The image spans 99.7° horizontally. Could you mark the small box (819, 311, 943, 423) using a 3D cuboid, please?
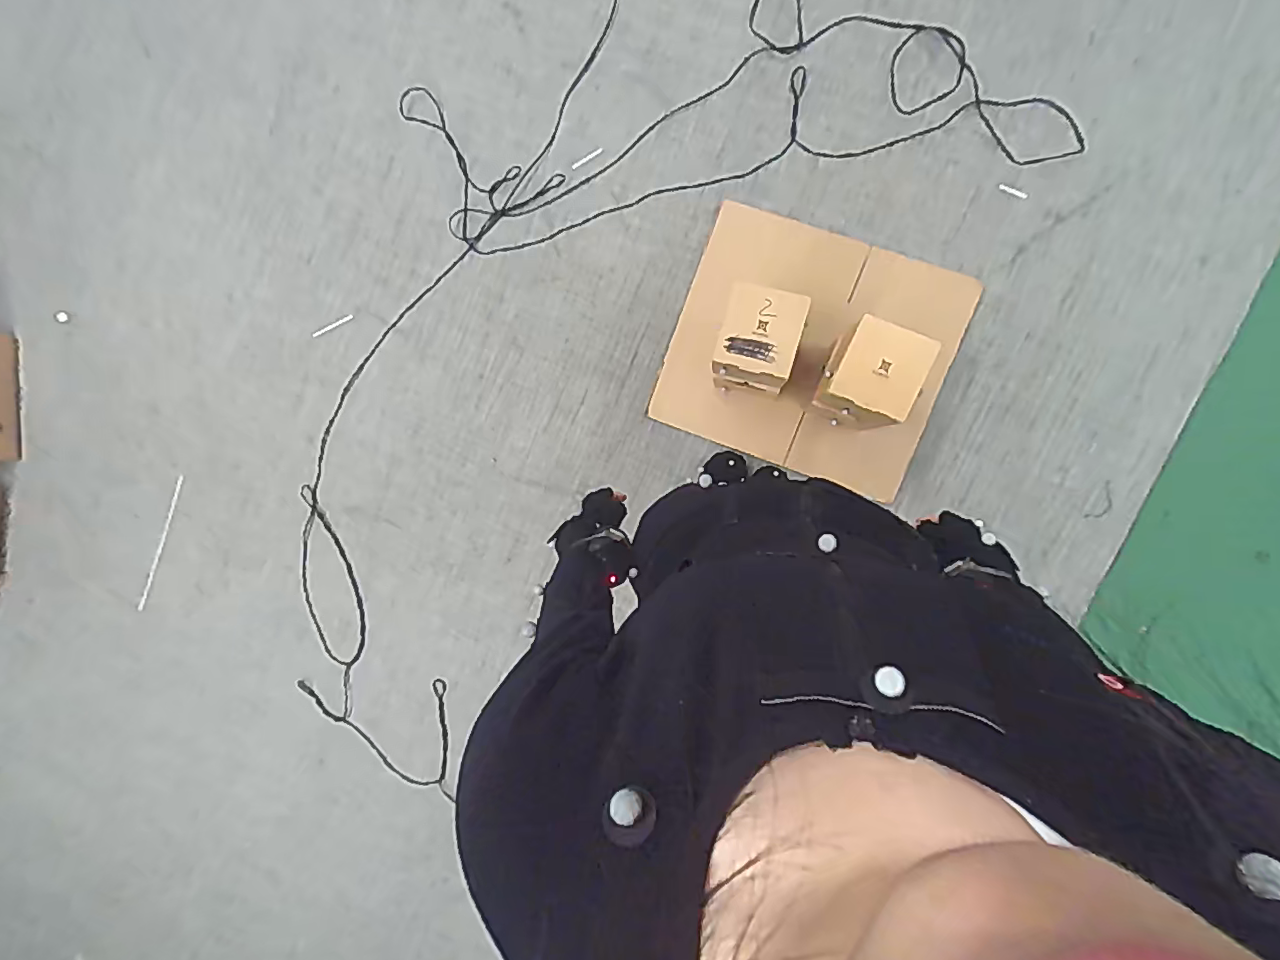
[{"bbox_3d":[0.504,-0.234,1.162,0.168,0.176,0.179,24,97,7],"label":"small box"}]

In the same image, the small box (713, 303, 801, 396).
[{"bbox_3d":[0.287,-0.316,1.351,0.168,0.176,0.179,17,95,7],"label":"small box"}]

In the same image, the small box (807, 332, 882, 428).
[{"bbox_3d":[0.523,-0.237,1.324,0.168,0.176,0.179,21,96,8],"label":"small box"}]
